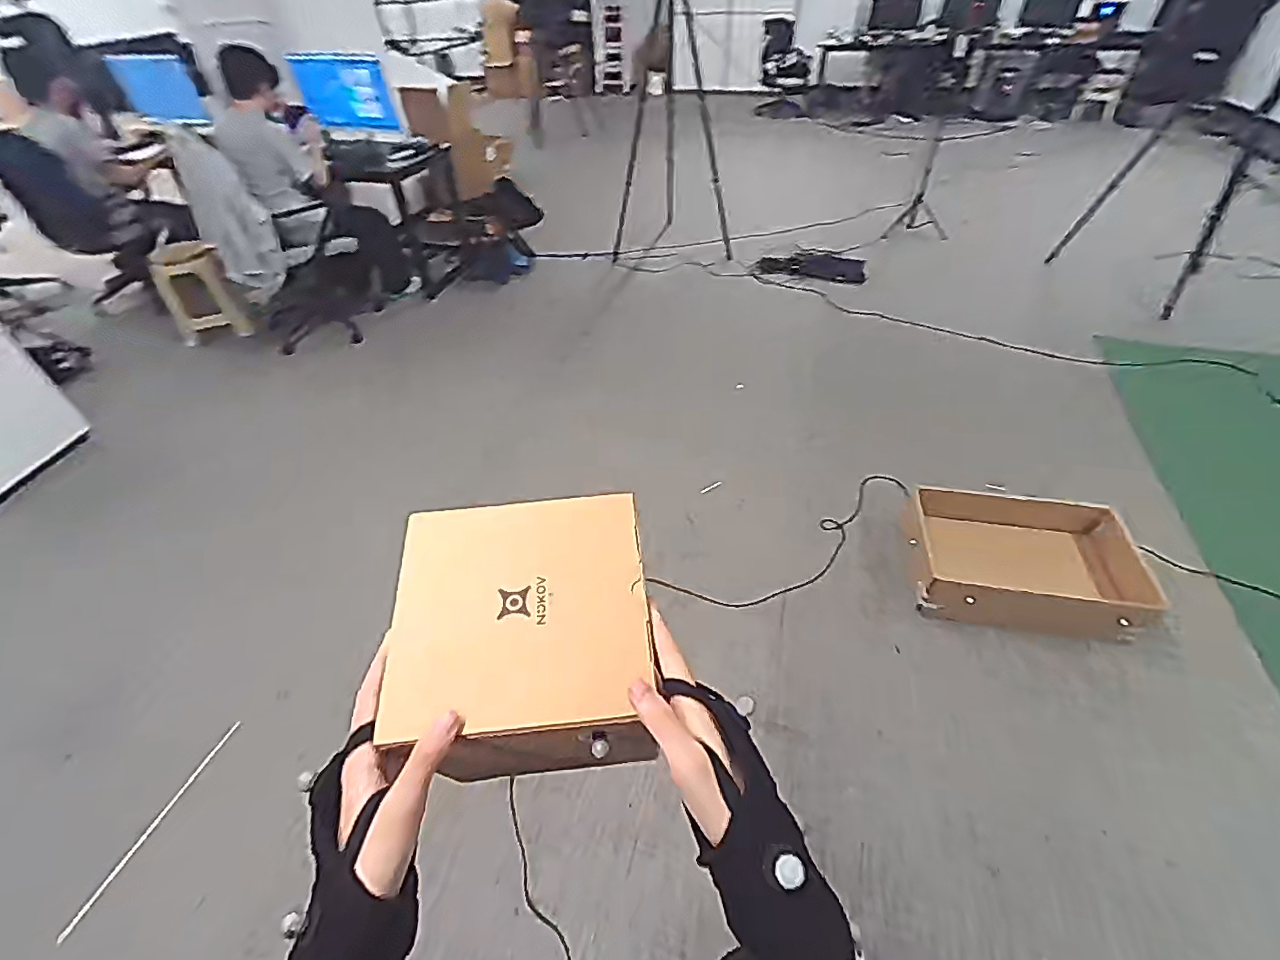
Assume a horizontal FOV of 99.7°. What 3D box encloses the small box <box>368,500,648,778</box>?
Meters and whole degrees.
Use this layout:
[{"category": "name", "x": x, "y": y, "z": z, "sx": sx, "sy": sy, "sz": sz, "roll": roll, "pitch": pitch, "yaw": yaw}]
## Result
[{"category": "small box", "x": -0.086, "y": 0.135, "z": 0.443, "sx": 0.179, "sy": 0.176, "sz": 0.168, "roll": -4, "pitch": 54, "yaw": -3}]
